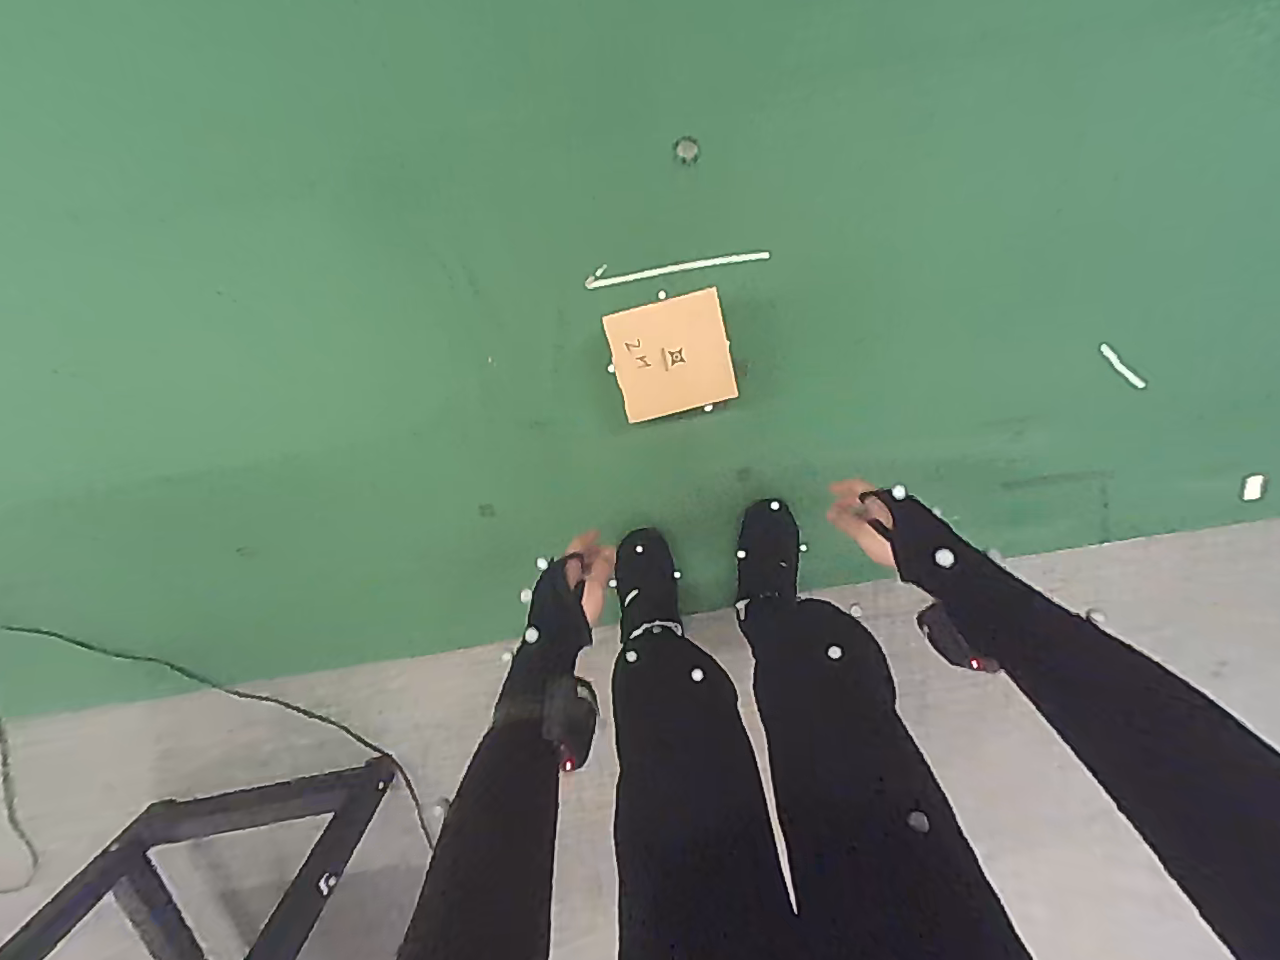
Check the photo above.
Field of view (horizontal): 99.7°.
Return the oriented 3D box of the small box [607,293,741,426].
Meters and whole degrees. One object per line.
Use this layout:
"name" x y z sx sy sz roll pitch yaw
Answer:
"small box" 0.052 -0.199 0.887 0.179 0.176 0.168 -14 104 4
